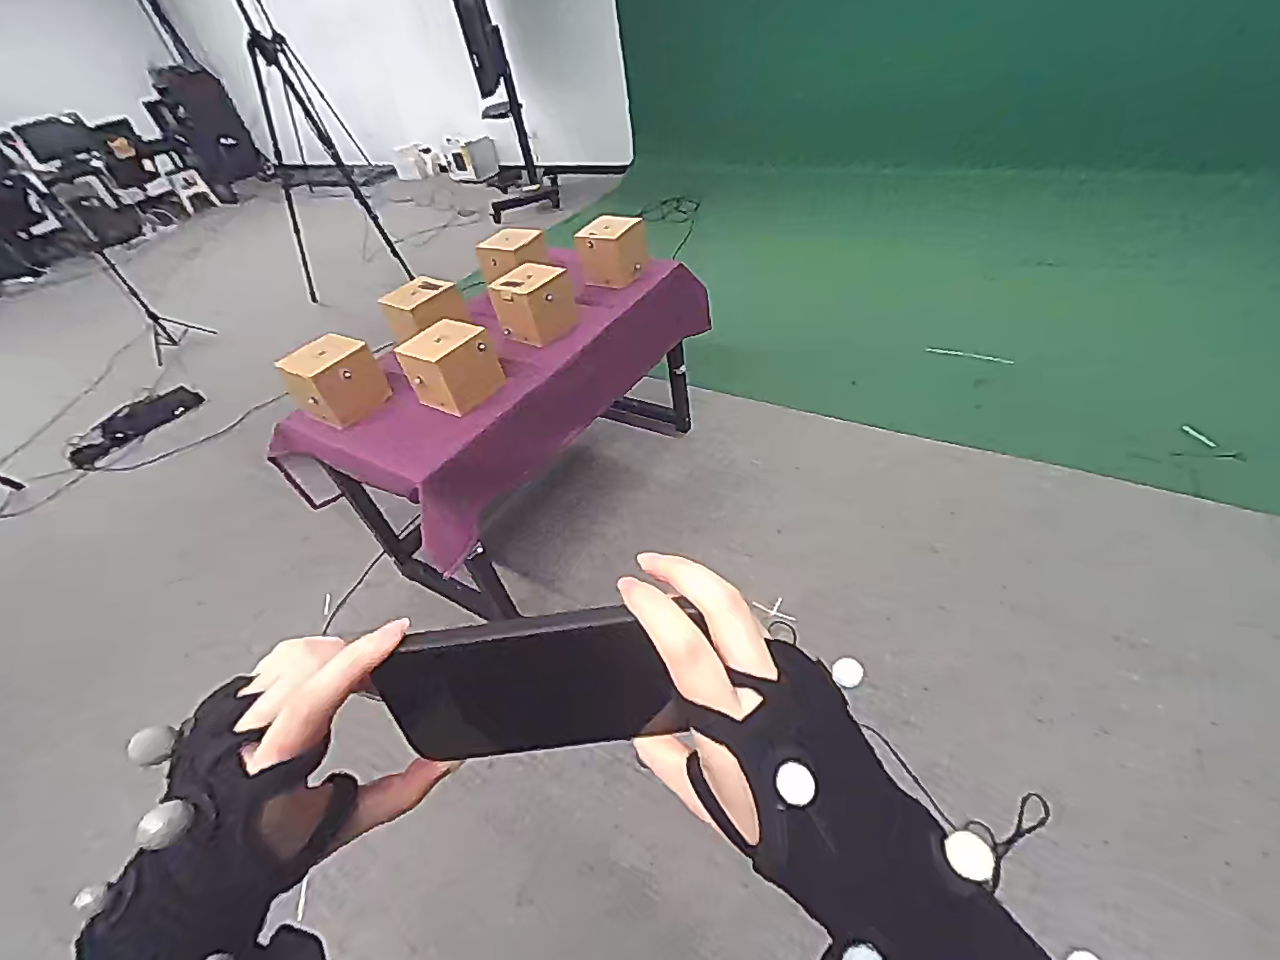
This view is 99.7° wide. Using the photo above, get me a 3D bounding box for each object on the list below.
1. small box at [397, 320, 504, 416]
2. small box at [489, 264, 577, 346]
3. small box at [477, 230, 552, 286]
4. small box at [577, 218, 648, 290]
[{"bbox_3d":[-0.486,-0.292,1.413,0.168,0.176,0.179,20,50,29],"label":"small box"},{"bbox_3d":[-0.311,-0.521,1.616,0.168,0.176,0.179,22,51,30],"label":"small box"},{"bbox_3d":[-0.428,-0.749,1.877,0.179,0.176,0.168,17,50,26],"label":"small box"},{"bbox_3d":[-0.087,-0.764,1.824,0.168,0.176,0.179,17,50,28],"label":"small box"}]
